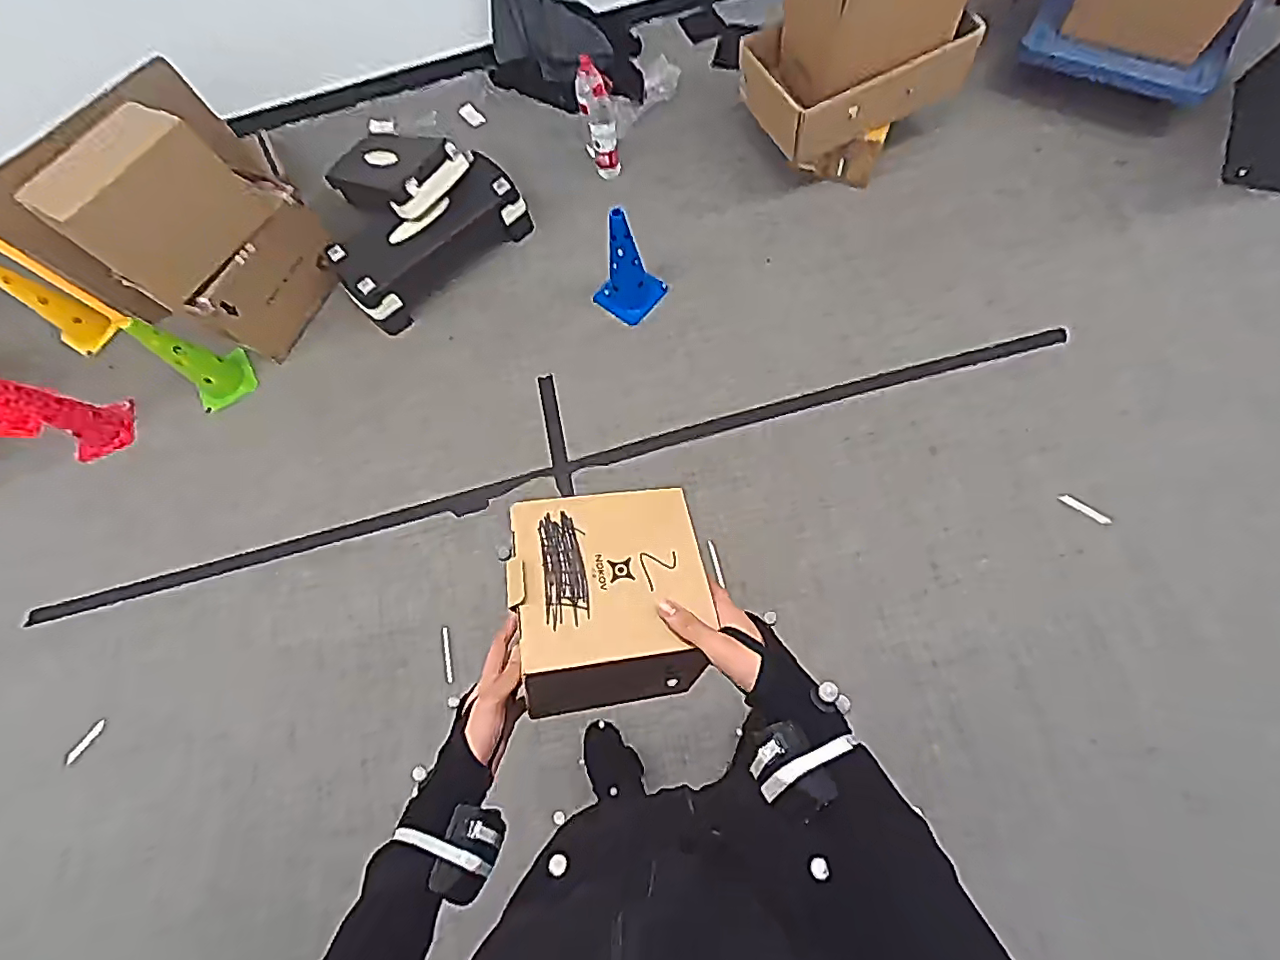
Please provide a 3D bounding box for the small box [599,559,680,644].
[{"bbox_3d":[0.005,0.327,1.433,0.168,0.176,0.179,-18,70,0],"label":"small box"}]
